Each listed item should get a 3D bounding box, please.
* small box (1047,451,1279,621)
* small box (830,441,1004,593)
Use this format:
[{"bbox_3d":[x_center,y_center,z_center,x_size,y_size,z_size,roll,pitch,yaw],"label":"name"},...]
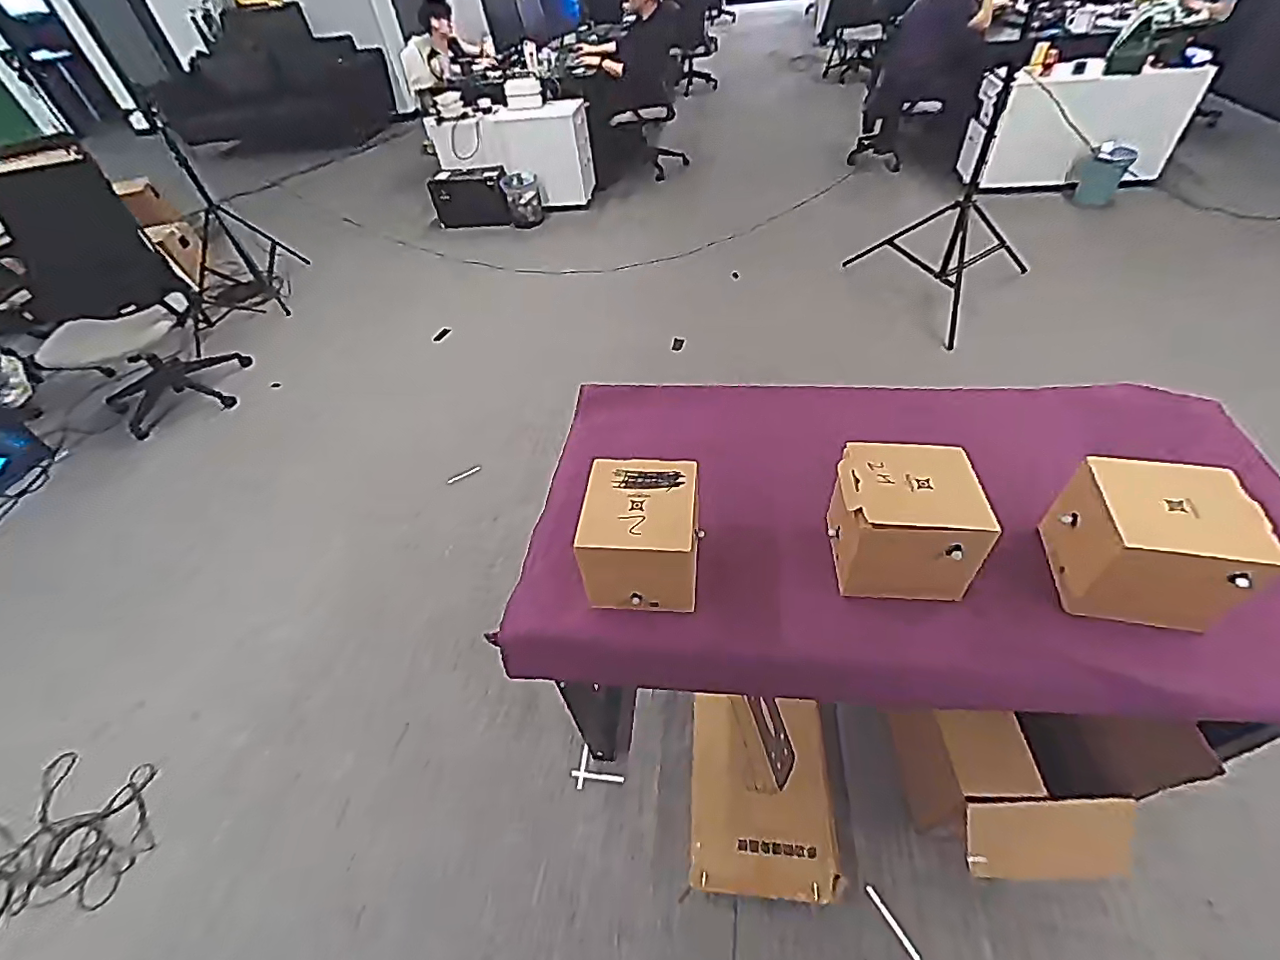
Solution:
[{"bbox_3d":[0.714,0.080,0.761,0.179,0.176,0.168,6,48,12],"label":"small box"},{"bbox_3d":[0.402,0.058,0.820,0.179,0.176,0.168,1,45,8],"label":"small box"}]
